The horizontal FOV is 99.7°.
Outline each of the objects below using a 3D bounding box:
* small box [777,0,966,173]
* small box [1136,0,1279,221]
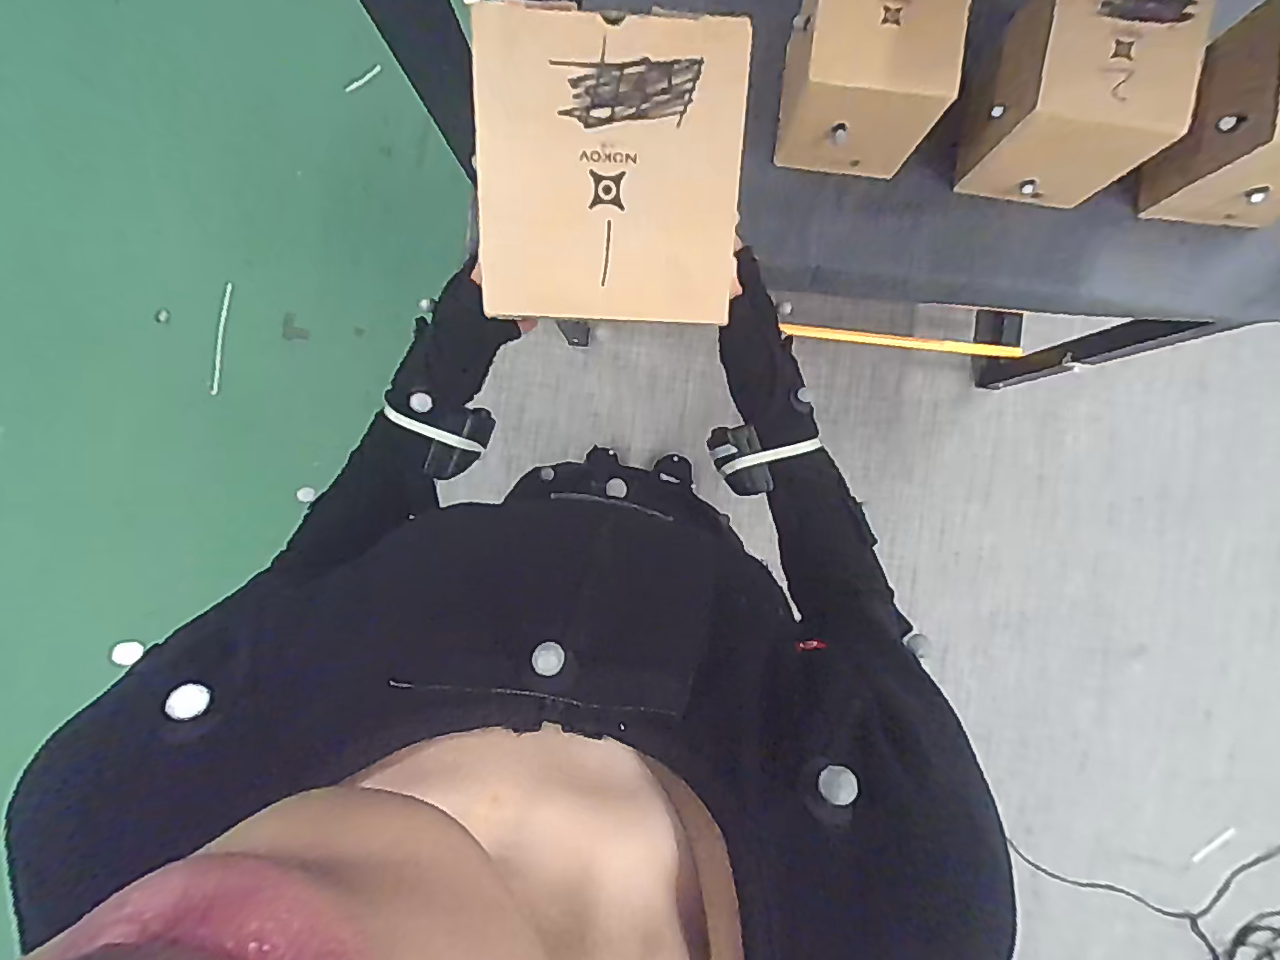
[{"bbox_3d":[0.275,-0.515,0.673,0.168,0.176,0.179,7,90,1],"label":"small box"},{"bbox_3d":[0.763,-0.443,0.659,0.168,0.176,0.179,6,89,1],"label":"small box"}]
